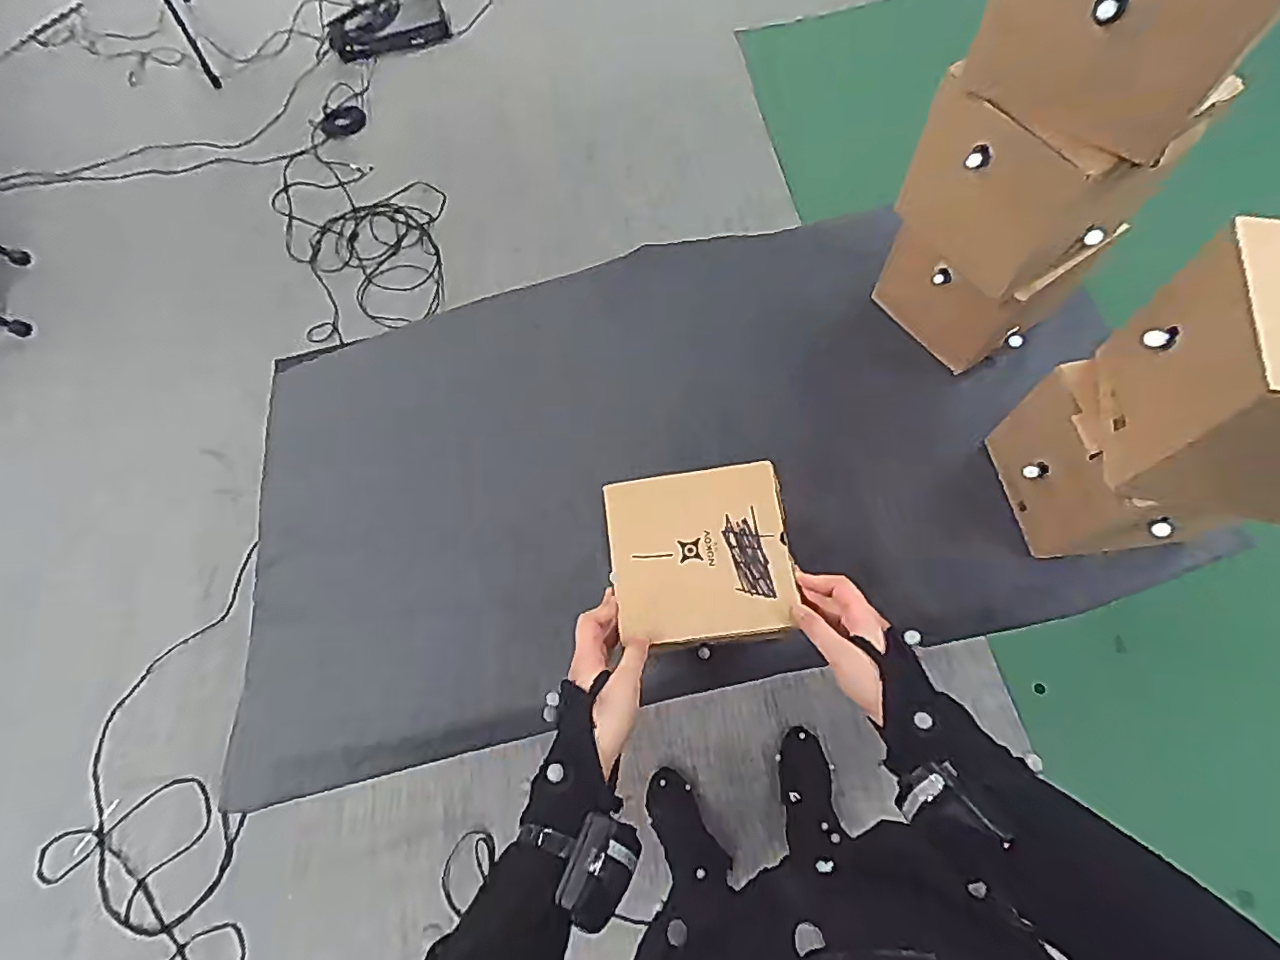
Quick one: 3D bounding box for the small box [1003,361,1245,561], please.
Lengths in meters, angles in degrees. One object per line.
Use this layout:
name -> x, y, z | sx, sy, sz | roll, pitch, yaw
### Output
small box -> 0.535, -0.019, 0.589 | 0.179, 0.176, 0.168 | -8, 65, 4

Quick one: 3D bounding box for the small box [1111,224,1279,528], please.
small box -> 0.523, -0.072, 0.434 | 0.179, 0.176, 0.168 | 12, 68, 12

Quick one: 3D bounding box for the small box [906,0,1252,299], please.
small box -> 0.410, -0.325, 0.550 | 0.168, 0.176, 0.179 | -31, 69, -2

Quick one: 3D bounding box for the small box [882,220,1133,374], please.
small box -> 0.451, -0.273, 0.703 | 0.168, 0.176, 0.179 | -35, 71, -4
